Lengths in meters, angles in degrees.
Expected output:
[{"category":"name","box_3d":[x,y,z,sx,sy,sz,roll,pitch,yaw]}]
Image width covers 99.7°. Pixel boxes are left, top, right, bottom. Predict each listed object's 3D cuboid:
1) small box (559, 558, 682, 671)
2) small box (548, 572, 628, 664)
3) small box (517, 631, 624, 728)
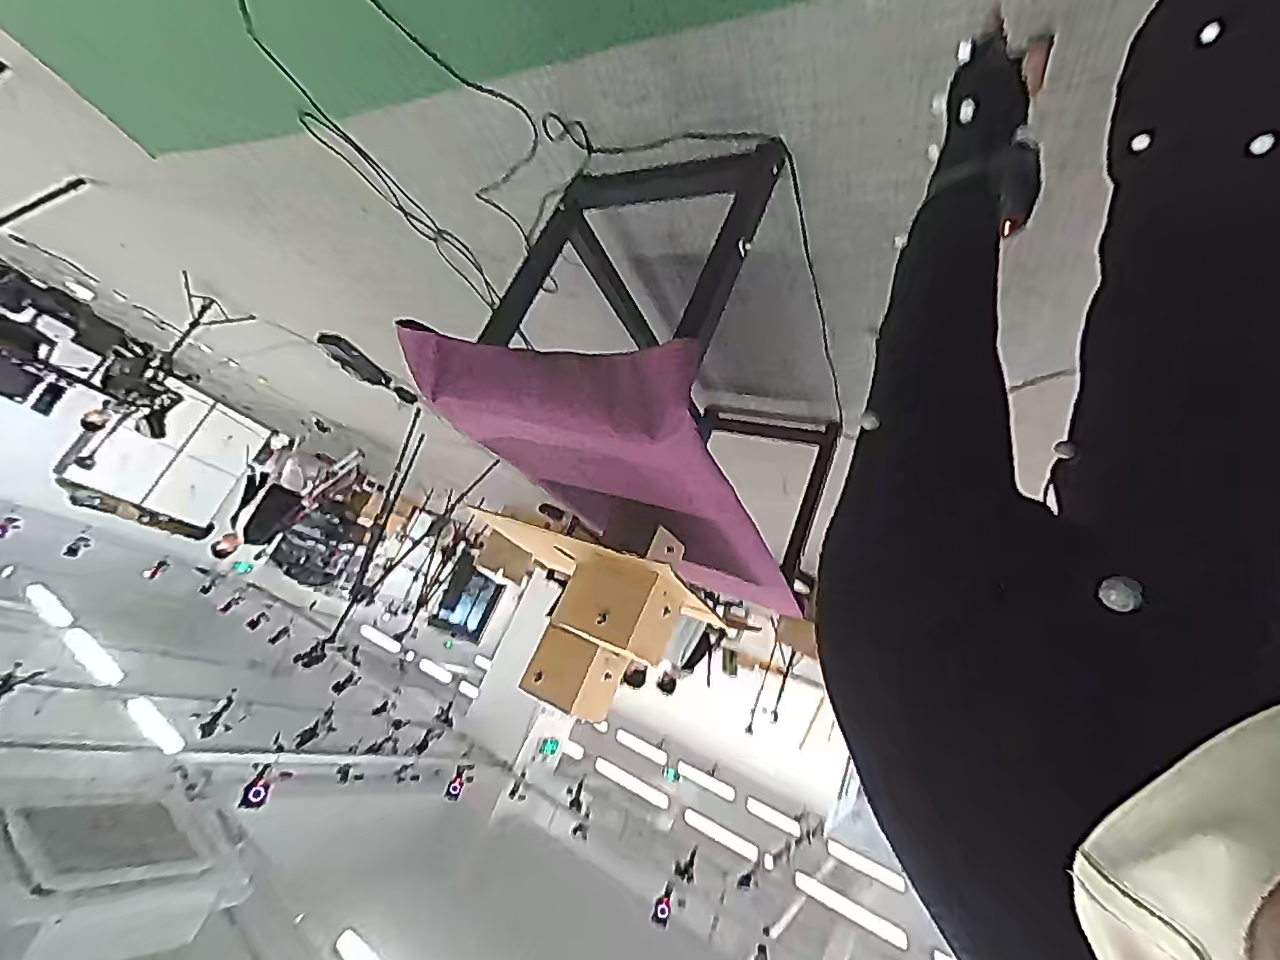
[{"category":"small box","box_3d":[-0.036,0.285,1.167,0.179,0.176,0.168,11,156,33]},{"category":"small box","box_3d":[-0.103,0.360,1.427,0.179,0.176,0.168,12,156,33]},{"category":"small box","box_3d":[-0.171,0.500,1.373,0.179,0.176,0.168,11,156,33]}]
